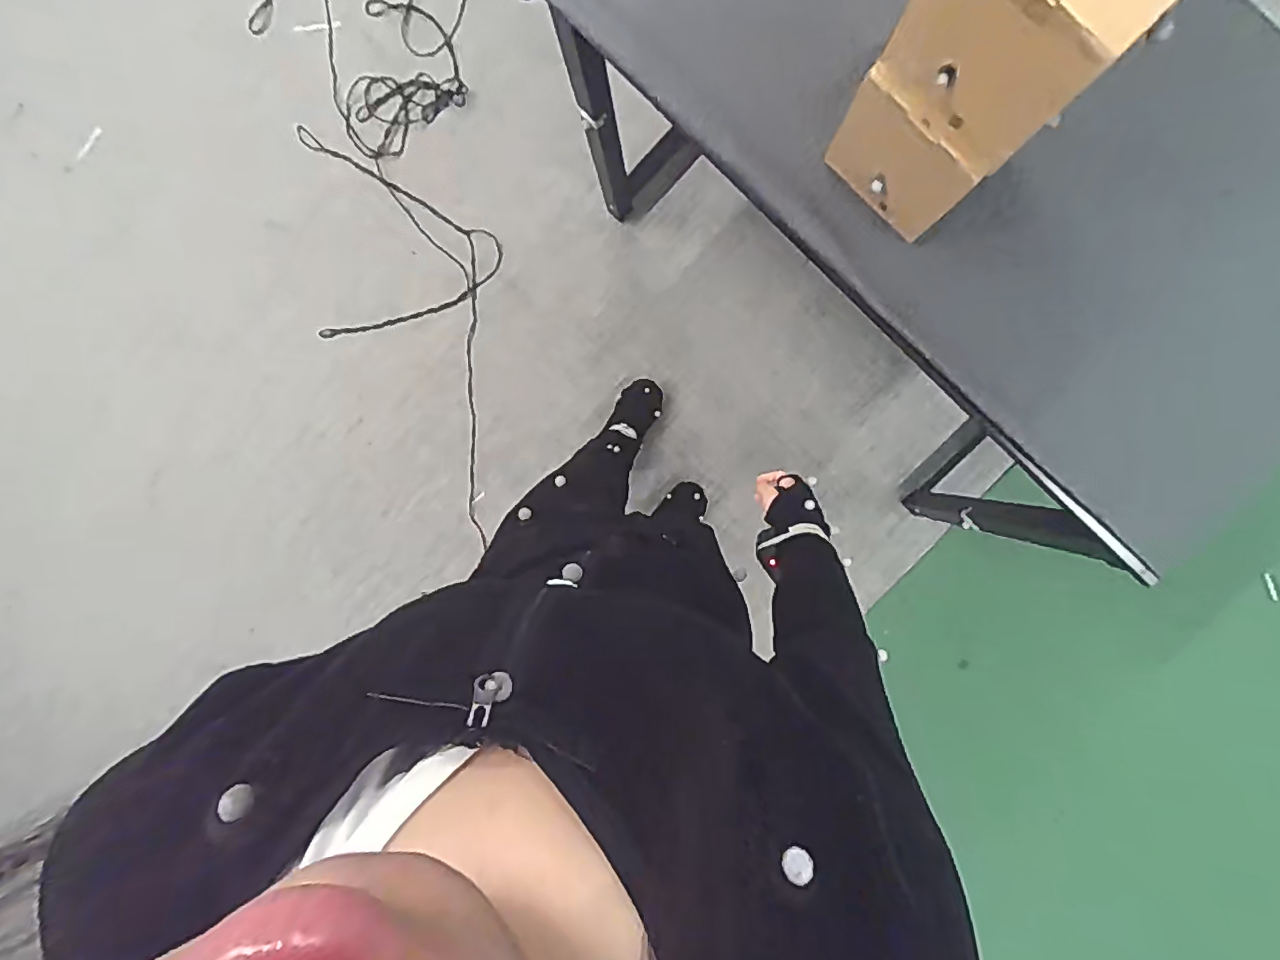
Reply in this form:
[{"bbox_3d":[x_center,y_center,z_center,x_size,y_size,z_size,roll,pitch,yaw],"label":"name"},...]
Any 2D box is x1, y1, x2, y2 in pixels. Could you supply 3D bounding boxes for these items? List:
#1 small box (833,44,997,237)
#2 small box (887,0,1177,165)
[{"bbox_3d":[0.360,-0.431,0.634,0.179,0.176,0.168,-45,88,4],"label":"small box"},{"bbox_3d":[0.358,-0.431,0.471,0.179,0.176,0.168,-44,89,4],"label":"small box"}]
